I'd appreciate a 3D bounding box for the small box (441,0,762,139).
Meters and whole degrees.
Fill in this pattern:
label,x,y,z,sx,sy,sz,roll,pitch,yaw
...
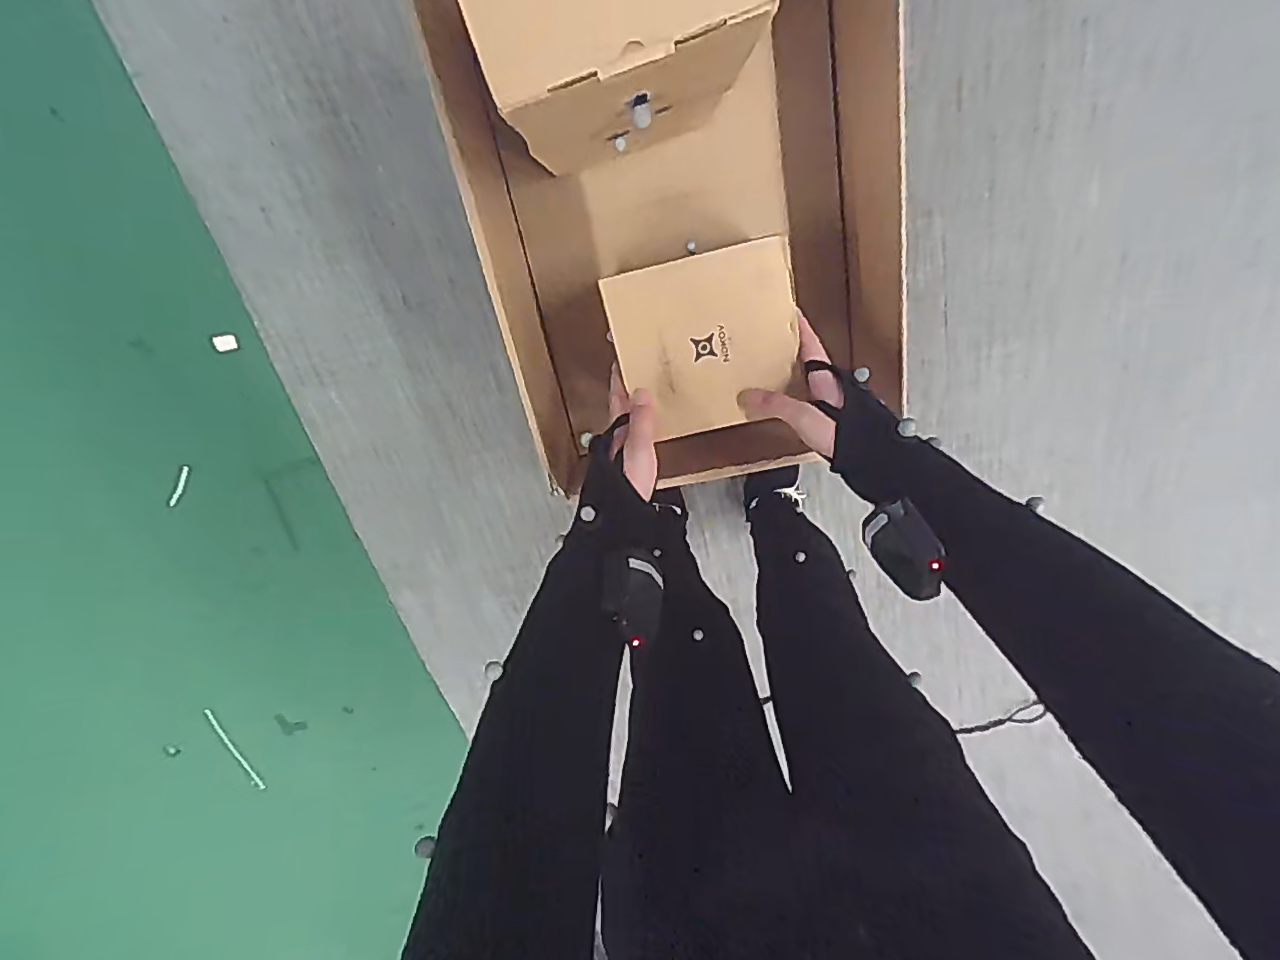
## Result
label,x,y,z,sx,sy,sz,roll,pitch,yaw
small box,-0.035,-0.334,0.332,0.168,0.176,0.179,-16,113,7
